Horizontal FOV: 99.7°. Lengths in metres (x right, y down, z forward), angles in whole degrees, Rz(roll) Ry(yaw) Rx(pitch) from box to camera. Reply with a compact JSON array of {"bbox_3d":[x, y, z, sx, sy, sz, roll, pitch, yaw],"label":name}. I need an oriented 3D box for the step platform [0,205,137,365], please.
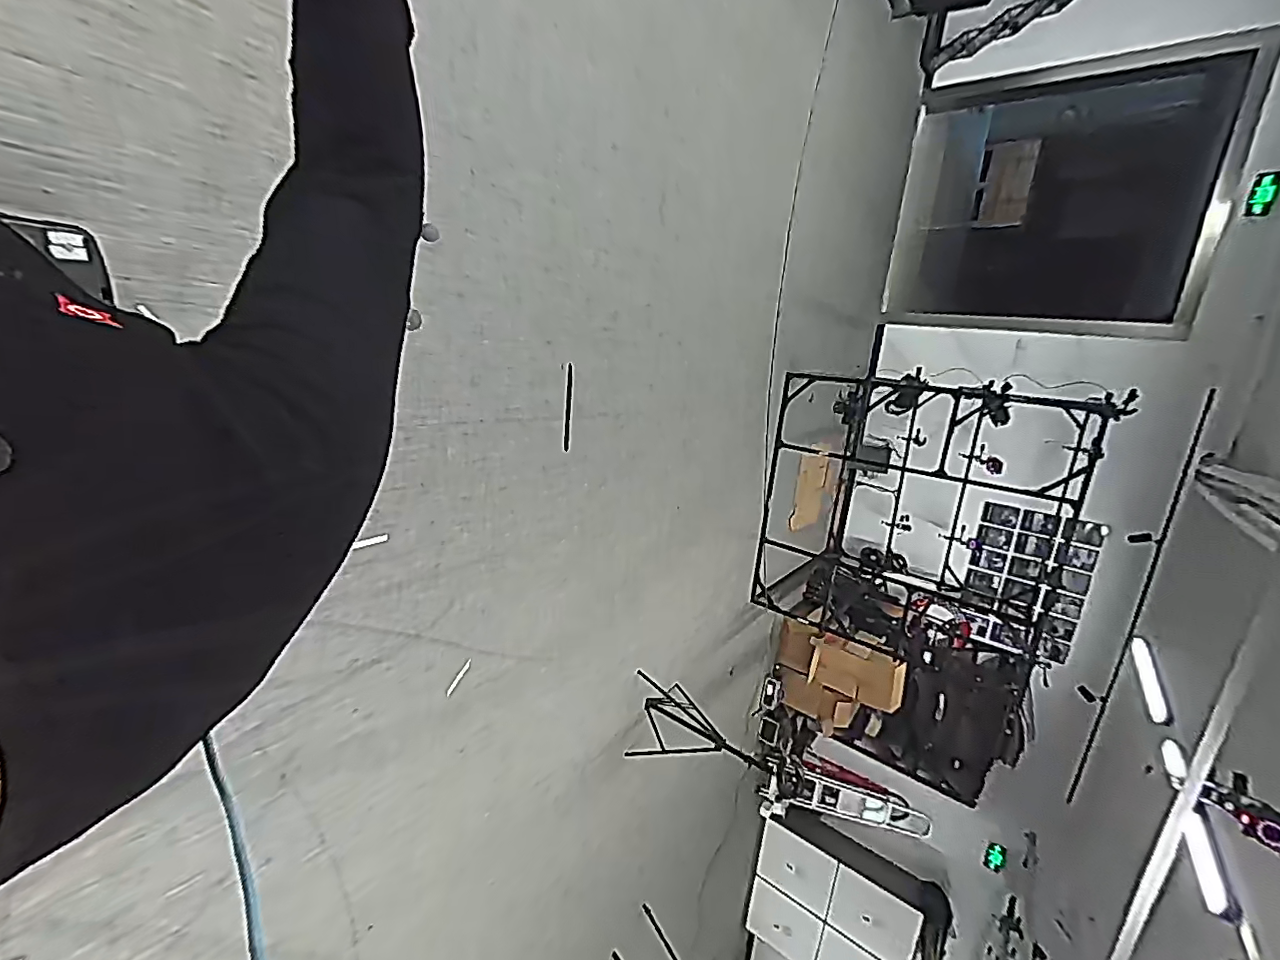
[{"bbox_3d":[-1.299,-0.339,0.893,0.684,0.204,0.286,-17,116,-52],"label":"step platform"}]
